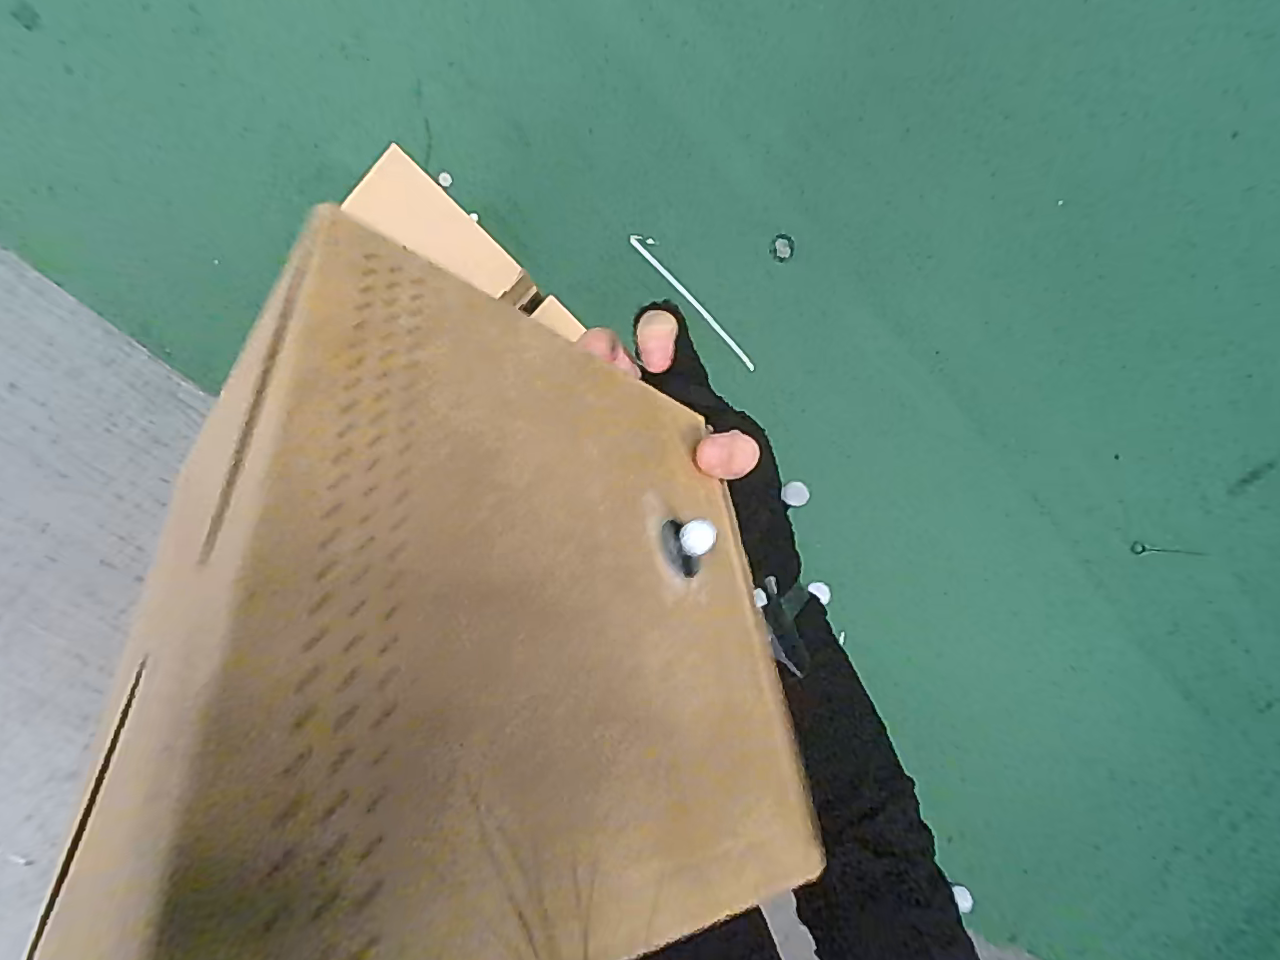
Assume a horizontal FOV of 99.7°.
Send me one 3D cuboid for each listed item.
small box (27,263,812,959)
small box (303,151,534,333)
[{"bbox_3d":[-0.070,0.062,0.199,0.176,0.179,0.168,20,141,-41],"label":"small box"},{"bbox_3d":[-0.249,-0.244,0.657,0.179,0.176,0.168,43,96,-16],"label":"small box"}]
